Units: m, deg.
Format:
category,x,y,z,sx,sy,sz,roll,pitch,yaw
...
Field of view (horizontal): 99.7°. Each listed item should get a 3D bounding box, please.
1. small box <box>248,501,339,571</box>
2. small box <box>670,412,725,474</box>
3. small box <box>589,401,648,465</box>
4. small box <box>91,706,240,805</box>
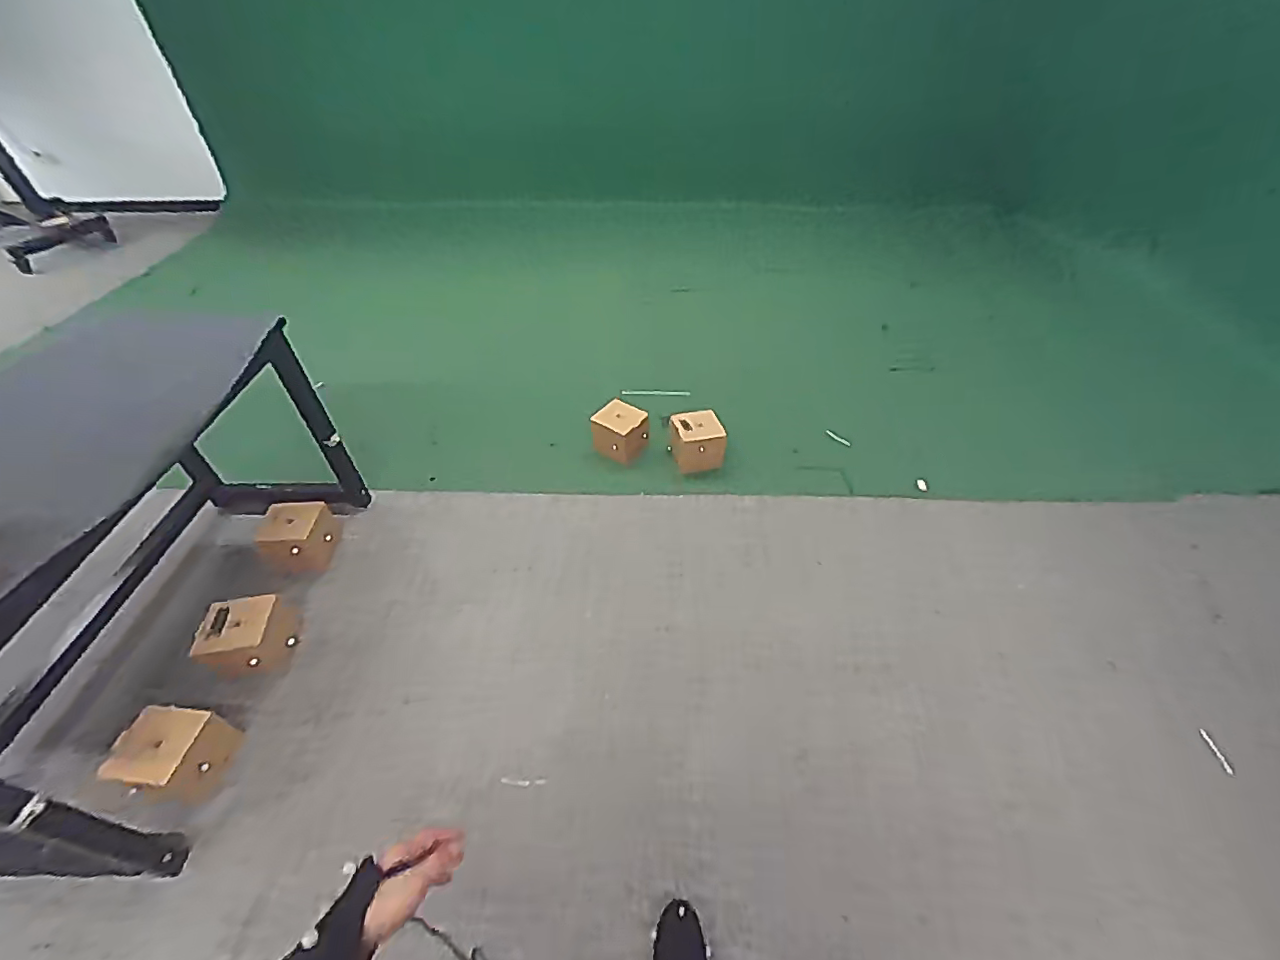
category,x,y,z,sx,sy,sz,roll,pitch,yaw
small box,-1.135,0.188,1.790,0.179,0.176,0.168,-3,44,-2
small box,0.220,-0.141,2.118,0.179,0.176,0.168,-10,46,-11
small box,-0.082,-0.184,2.164,0.179,0.176,0.168,26,50,25
small box,-1.131,0.669,1.310,0.179,0.176,0.168,3,45,4
